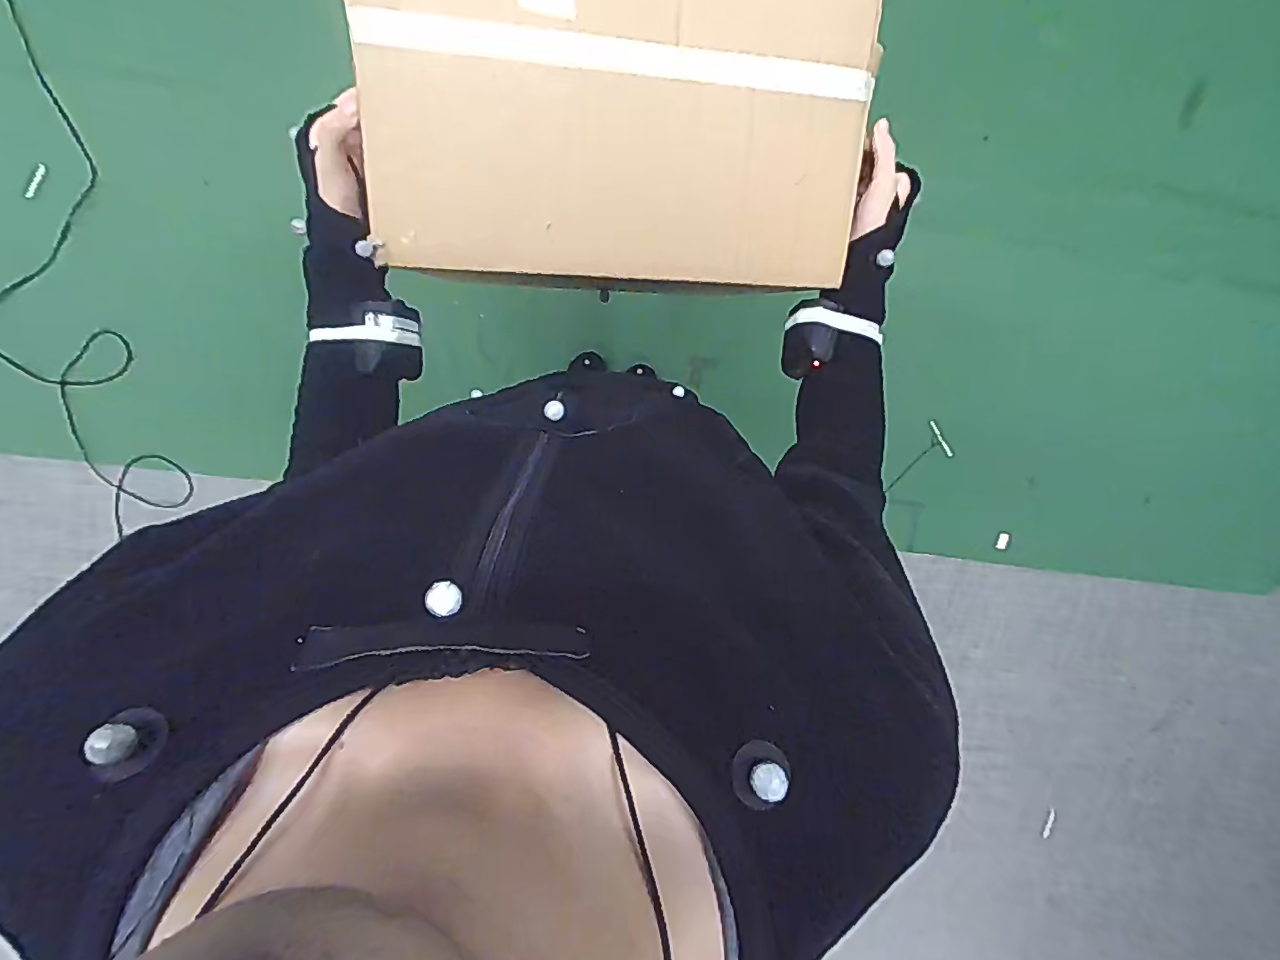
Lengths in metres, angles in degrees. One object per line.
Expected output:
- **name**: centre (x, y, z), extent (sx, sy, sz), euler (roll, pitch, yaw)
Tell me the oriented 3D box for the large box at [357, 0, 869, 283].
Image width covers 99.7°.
- **large box**: centre (-0.034, -0.376, 0.569), extent (0.408, 0.320, 0.320), euler (-1, 108, -10)
